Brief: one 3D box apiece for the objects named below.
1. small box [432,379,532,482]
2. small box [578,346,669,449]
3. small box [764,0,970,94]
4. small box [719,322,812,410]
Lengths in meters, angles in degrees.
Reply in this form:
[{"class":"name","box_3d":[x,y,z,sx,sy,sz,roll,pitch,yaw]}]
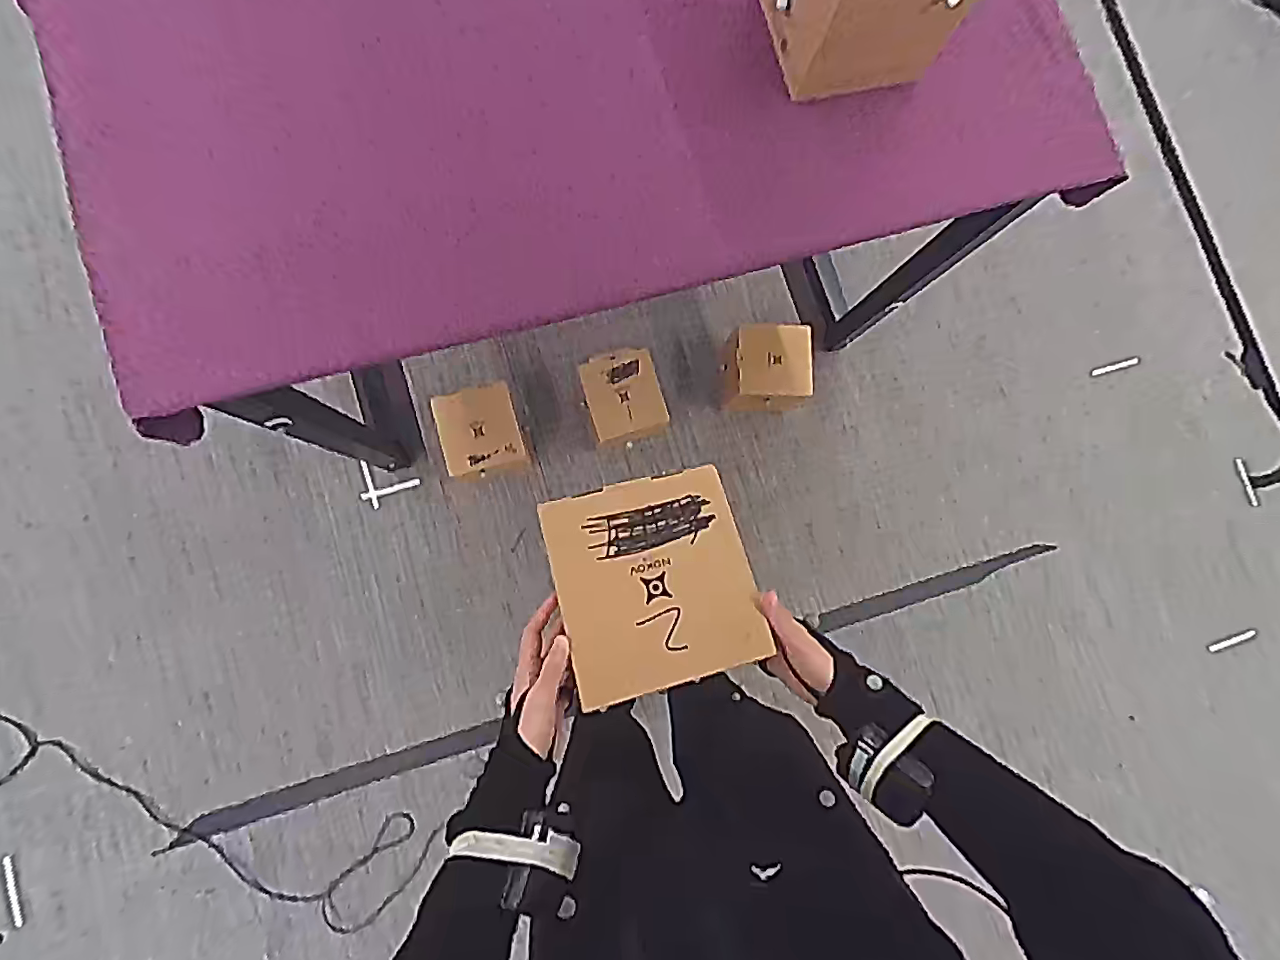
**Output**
[{"class":"small box","box_3d":[-0.349,-0.105,1.220,0.168,0.176,0.179,-15,85,-7]},{"class":"small box","box_3d":[-0.046,-0.185,1.260,0.168,0.176,0.179,-17,87,-7]},{"class":"small box","box_3d":[0.257,-0.574,0.596,0.179,0.176,0.168,-15,85,-7]},{"class":"small box","box_3d":[0.298,-0.270,1.307,0.179,0.176,0.168,0,84,-5]}]
